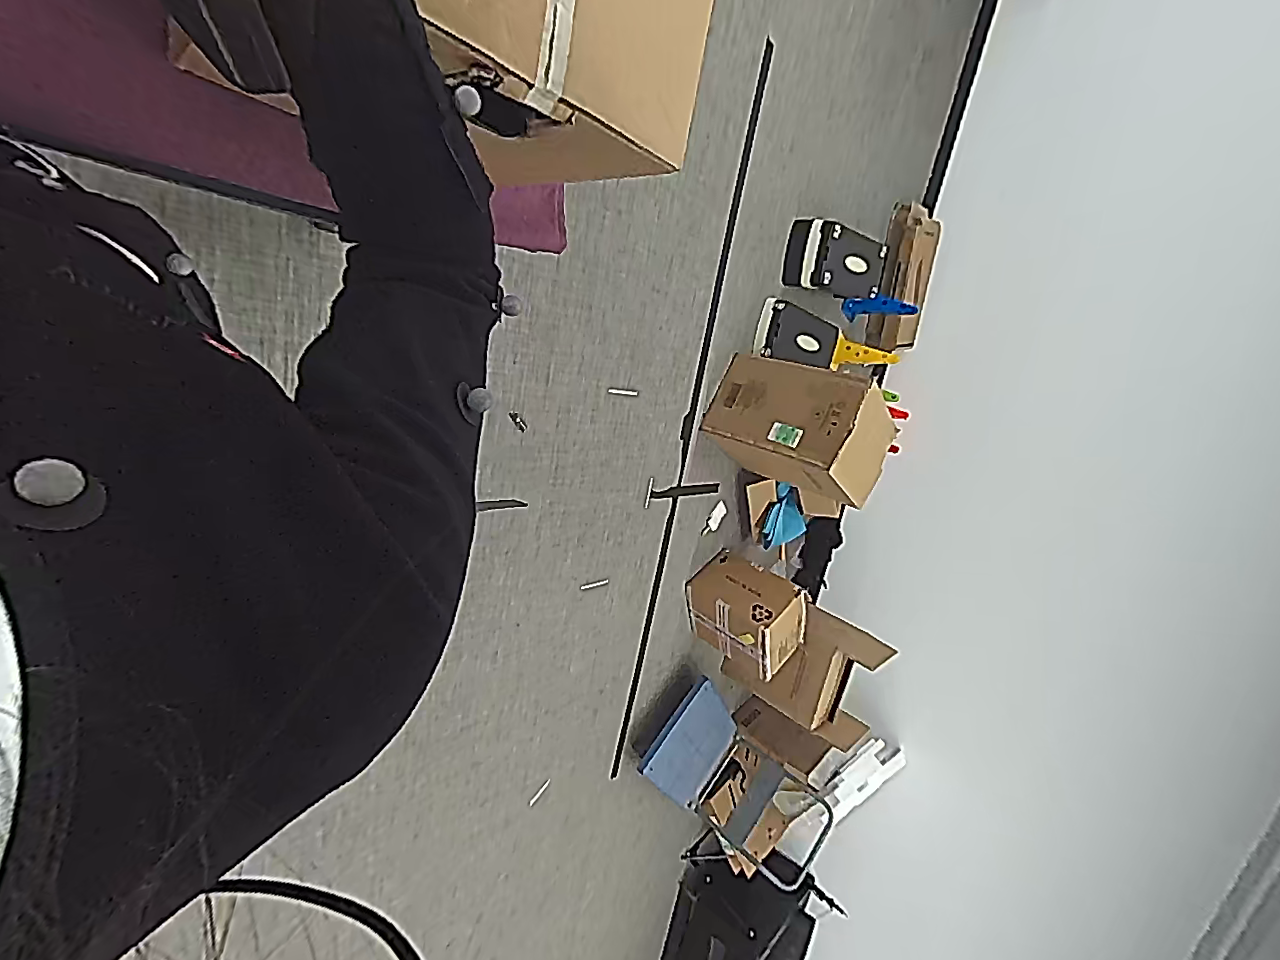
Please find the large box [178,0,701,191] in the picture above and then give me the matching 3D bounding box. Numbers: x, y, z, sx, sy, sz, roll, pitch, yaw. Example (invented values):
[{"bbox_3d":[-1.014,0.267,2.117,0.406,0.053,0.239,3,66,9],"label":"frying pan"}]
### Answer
[{"bbox_3d":[-0.148,-0.494,0.422,0.320,0.320,0.408,-5,110,-48],"label":"large box"}]
